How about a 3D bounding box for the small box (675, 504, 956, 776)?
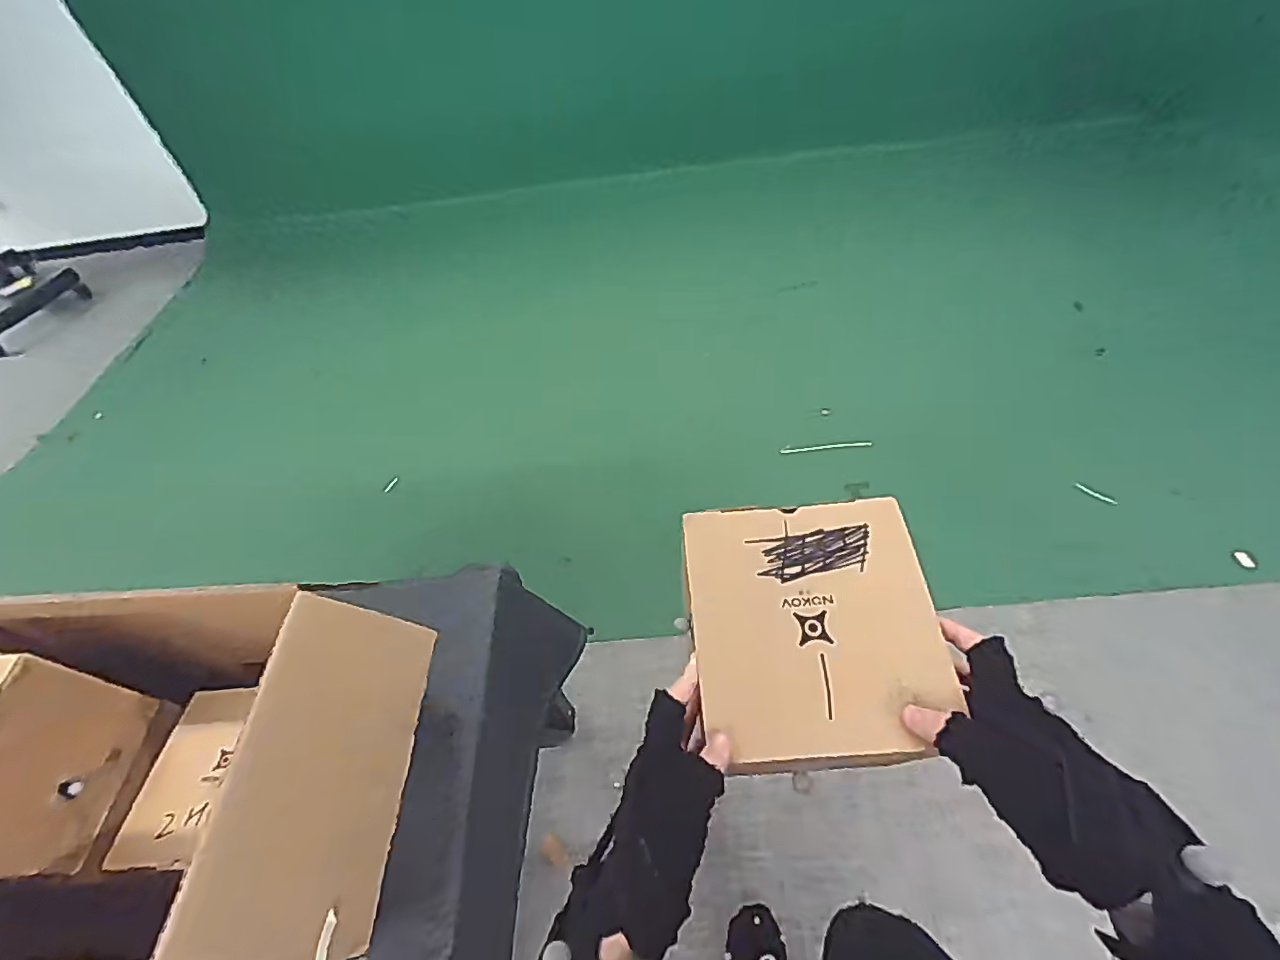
[{"bbox_3d":[0.117,0.138,0.448,0.168,0.176,0.179,-4,58,2],"label":"small box"}]
